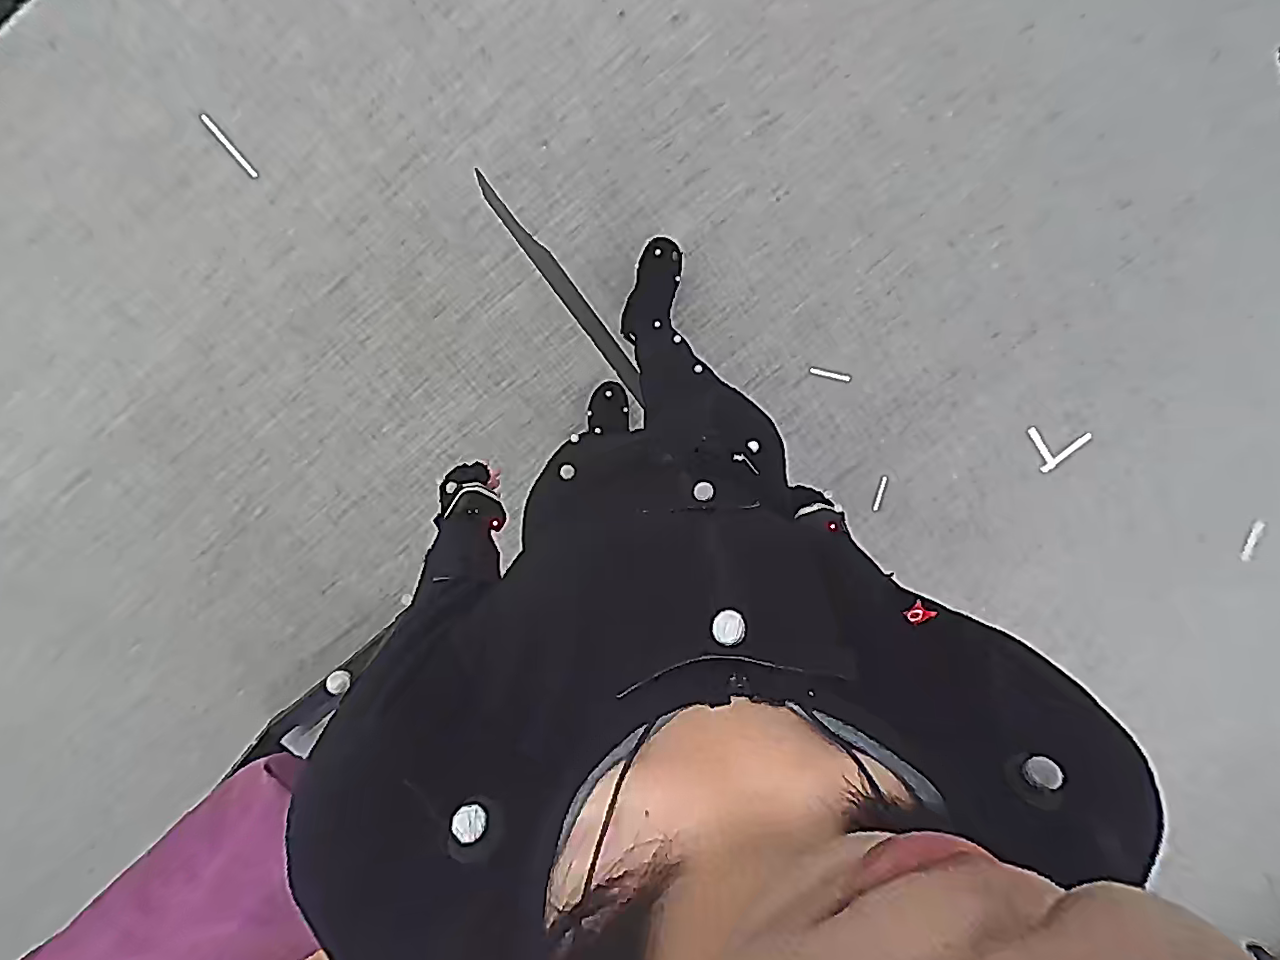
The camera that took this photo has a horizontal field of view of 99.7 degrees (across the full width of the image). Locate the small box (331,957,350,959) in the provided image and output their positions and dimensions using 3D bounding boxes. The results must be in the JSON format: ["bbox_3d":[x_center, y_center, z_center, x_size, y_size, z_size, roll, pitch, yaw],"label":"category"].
[{"bbox_3d":[-0.531,0.931,0.878,0.168,0.176,0.179,-35,107,7],"label":"small box"}]
